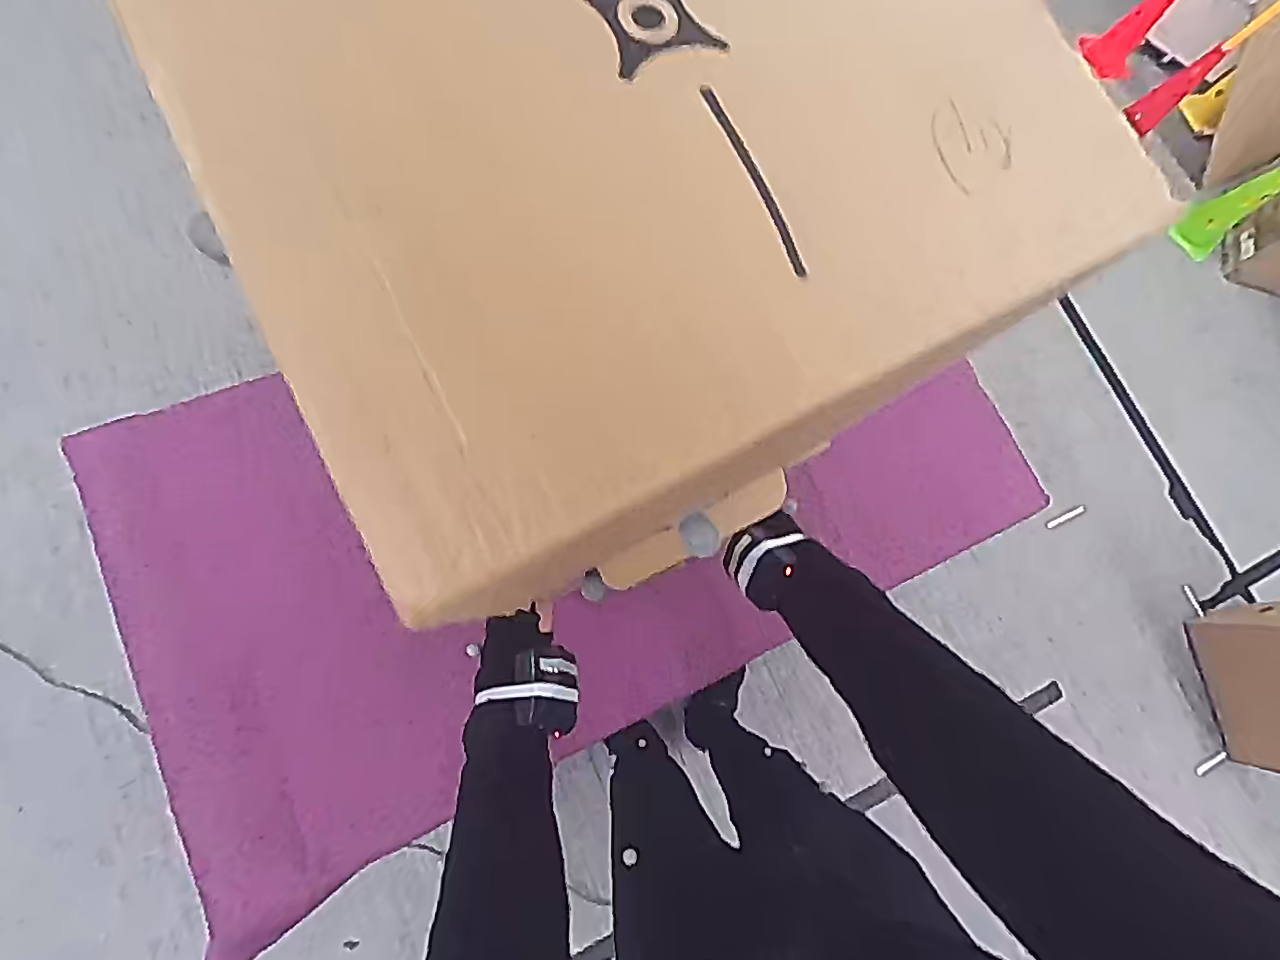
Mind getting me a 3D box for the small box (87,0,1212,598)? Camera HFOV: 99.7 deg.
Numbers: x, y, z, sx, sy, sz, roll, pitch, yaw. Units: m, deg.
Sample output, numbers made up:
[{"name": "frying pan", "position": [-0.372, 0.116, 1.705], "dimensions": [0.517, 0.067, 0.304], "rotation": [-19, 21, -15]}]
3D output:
[{"name": "small box", "position": [-0.014, -0.074, 0.171], "dimensions": [0.168, 0.176, 0.179], "rotation": [-27, 83, -13]}]
